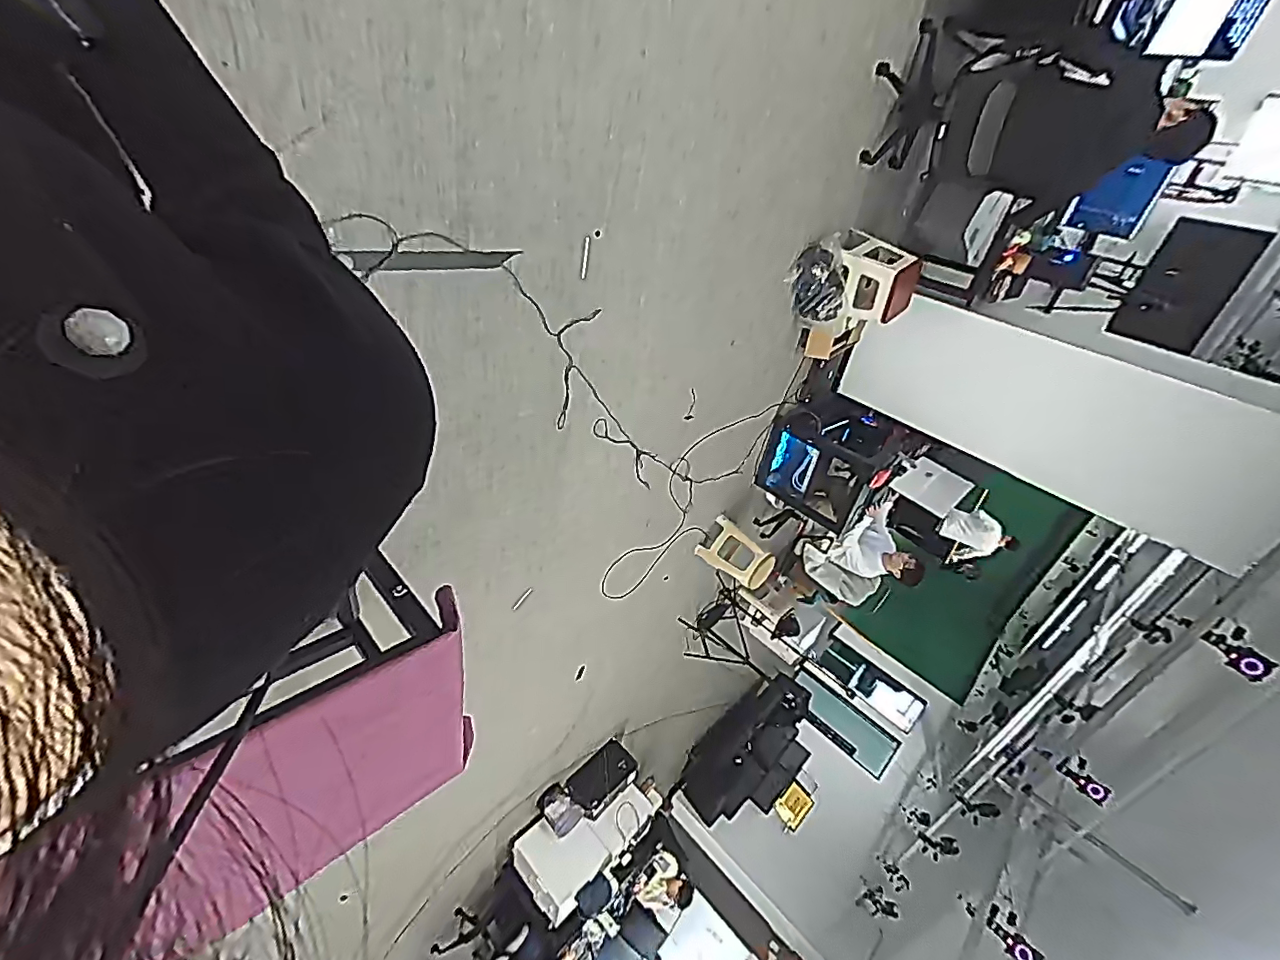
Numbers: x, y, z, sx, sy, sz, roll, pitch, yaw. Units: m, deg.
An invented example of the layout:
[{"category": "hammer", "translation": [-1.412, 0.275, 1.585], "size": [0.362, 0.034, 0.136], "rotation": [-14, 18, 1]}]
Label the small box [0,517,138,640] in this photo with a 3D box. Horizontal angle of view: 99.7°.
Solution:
[{"category": "small box", "translation": [-1.272, 0.214, 1.209], "size": [0.168, 0.176, 0.179], "rotation": [-24, 136, -41]}]
